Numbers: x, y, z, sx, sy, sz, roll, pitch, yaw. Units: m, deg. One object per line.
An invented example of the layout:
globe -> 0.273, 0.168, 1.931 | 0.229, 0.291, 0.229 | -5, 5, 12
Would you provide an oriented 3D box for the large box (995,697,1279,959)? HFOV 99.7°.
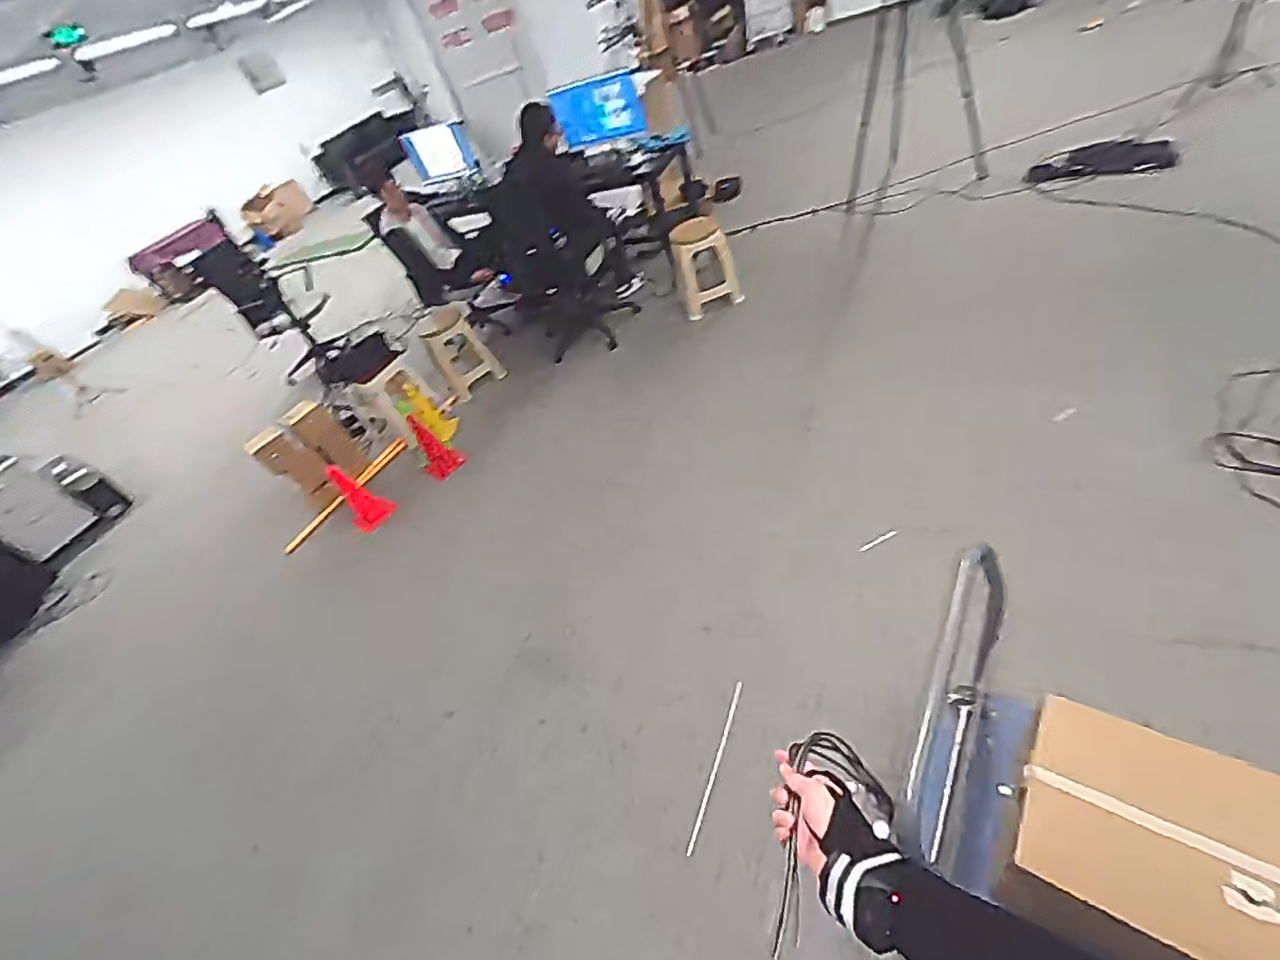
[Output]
large box -> 0.886, 0.647, 0.917 | 0.408, 0.320, 0.320 | 17, 56, 34
